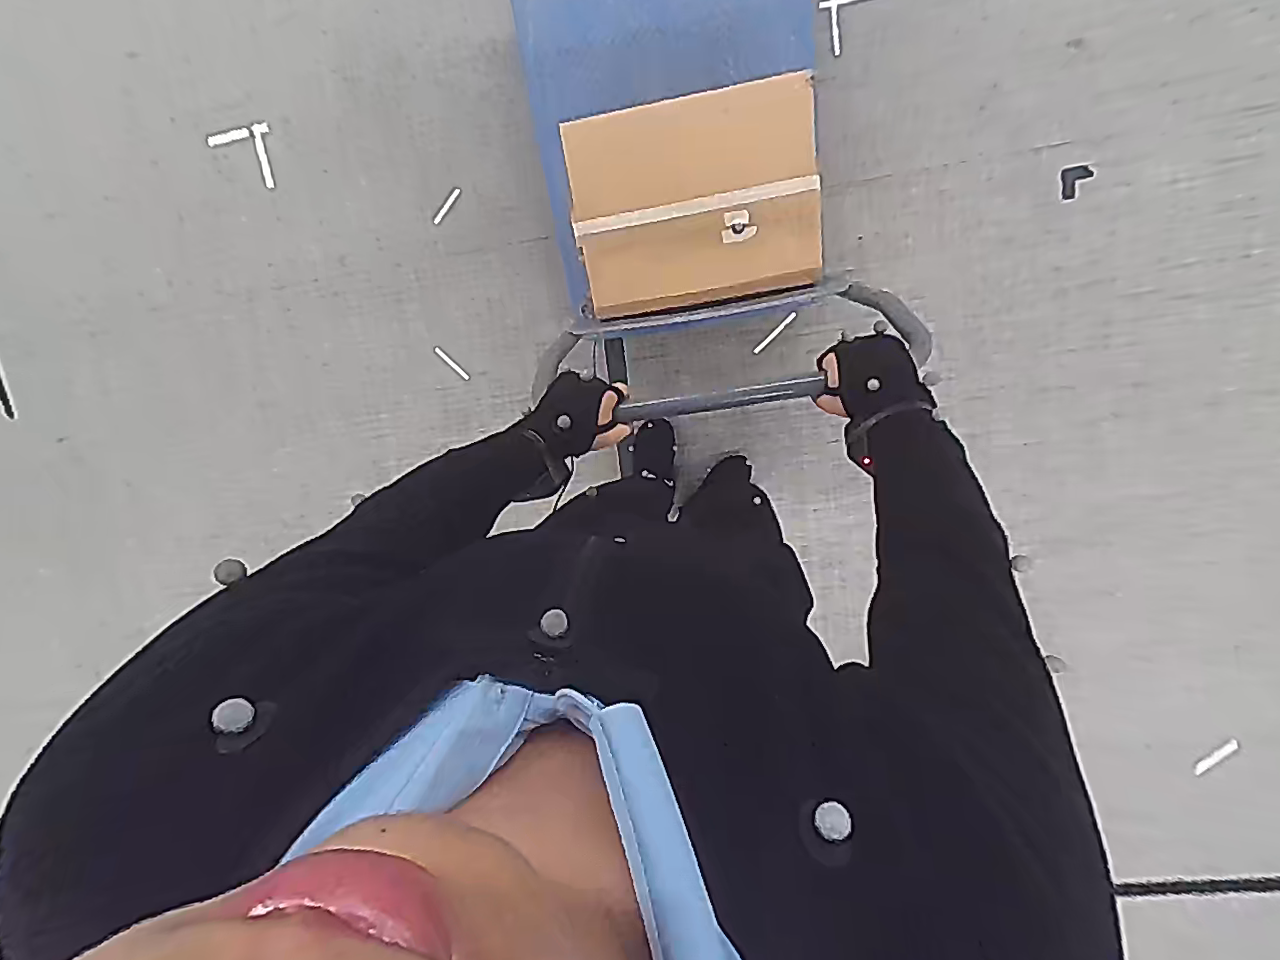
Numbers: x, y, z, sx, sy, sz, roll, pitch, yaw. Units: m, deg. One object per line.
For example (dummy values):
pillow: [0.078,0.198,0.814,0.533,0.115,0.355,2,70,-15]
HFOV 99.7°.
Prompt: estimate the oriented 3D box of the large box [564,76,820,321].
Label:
large box: [0.101,-0.515,1.060,0.408,0.320,0.320,-9,111,6]
